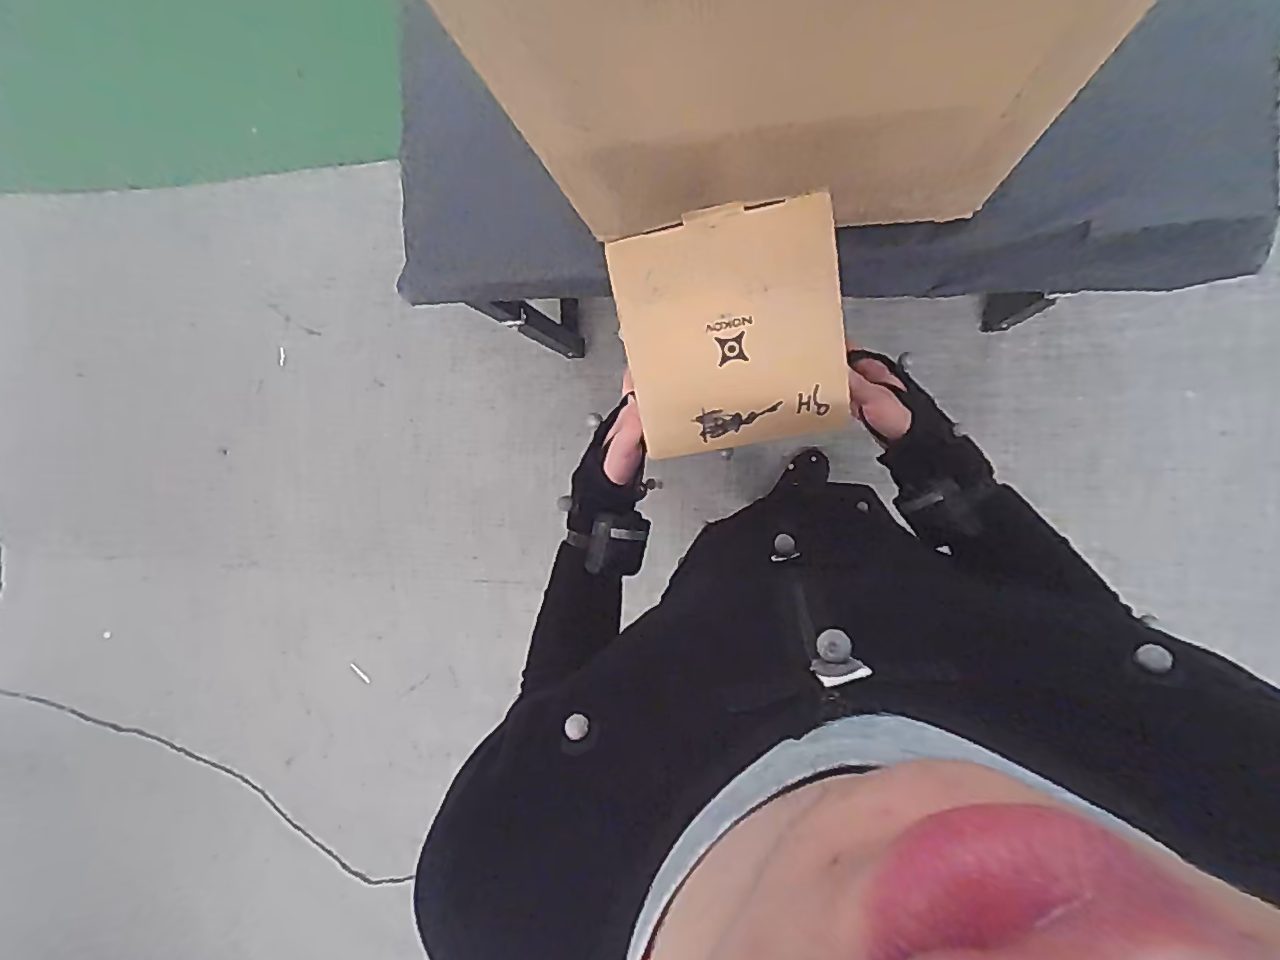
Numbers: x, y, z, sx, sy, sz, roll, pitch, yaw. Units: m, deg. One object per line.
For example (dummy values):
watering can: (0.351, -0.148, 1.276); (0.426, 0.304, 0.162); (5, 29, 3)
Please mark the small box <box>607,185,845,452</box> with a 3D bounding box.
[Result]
small box: (0.077, -0.138, 0.487); (0.168, 0.176, 0.179); (-8, 107, 11)
